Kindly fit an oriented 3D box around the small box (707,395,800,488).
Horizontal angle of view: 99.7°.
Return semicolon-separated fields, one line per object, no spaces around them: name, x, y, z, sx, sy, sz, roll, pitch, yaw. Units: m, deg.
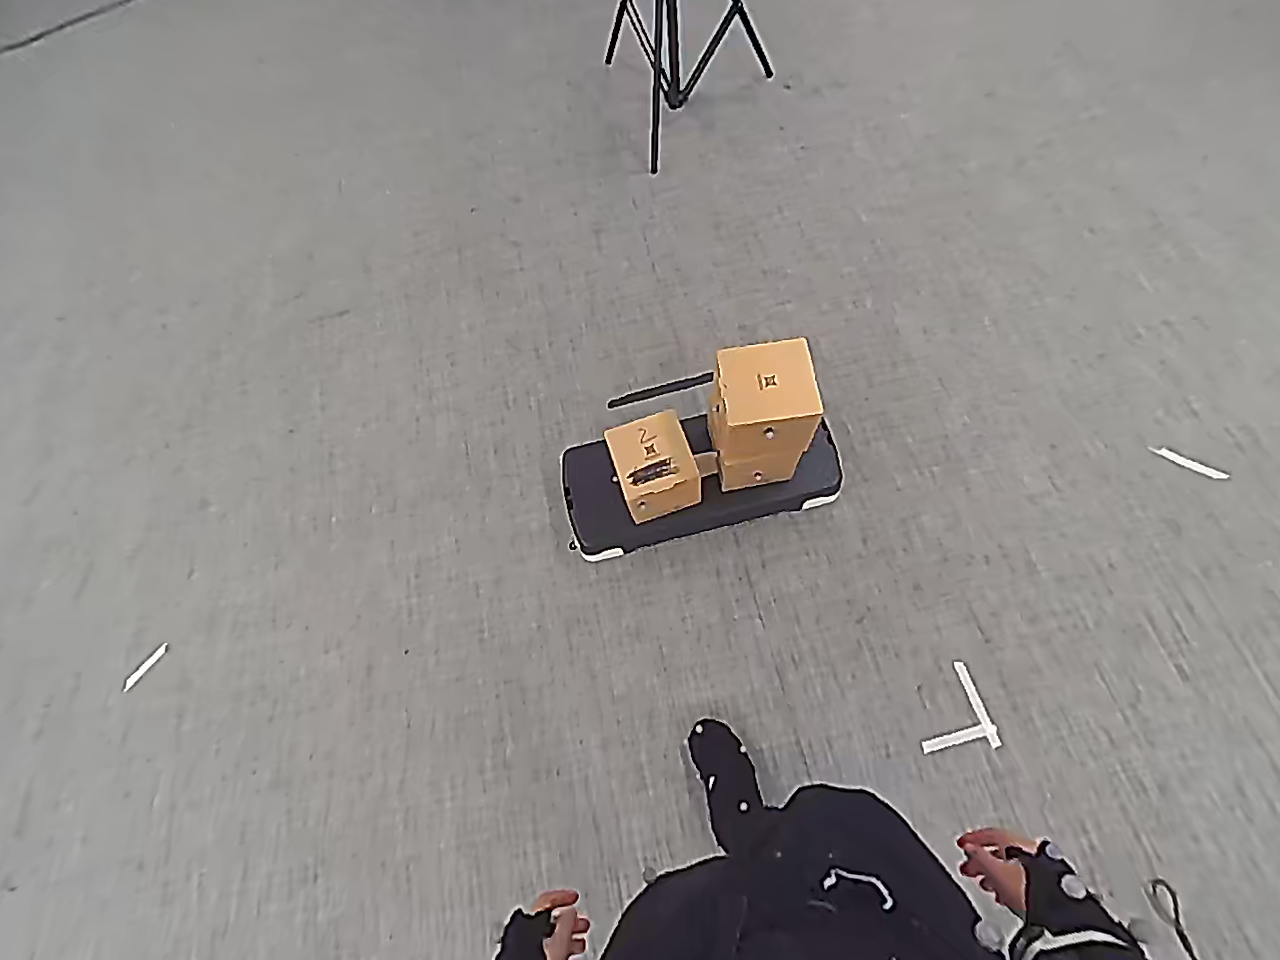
small box;0.250;-0.091;1.226;0.168;0.176;0.179;-10;68;2

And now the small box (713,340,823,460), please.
small box;0.243;-0.151;1.074;0.179;0.176;0.168;-8;69;4
